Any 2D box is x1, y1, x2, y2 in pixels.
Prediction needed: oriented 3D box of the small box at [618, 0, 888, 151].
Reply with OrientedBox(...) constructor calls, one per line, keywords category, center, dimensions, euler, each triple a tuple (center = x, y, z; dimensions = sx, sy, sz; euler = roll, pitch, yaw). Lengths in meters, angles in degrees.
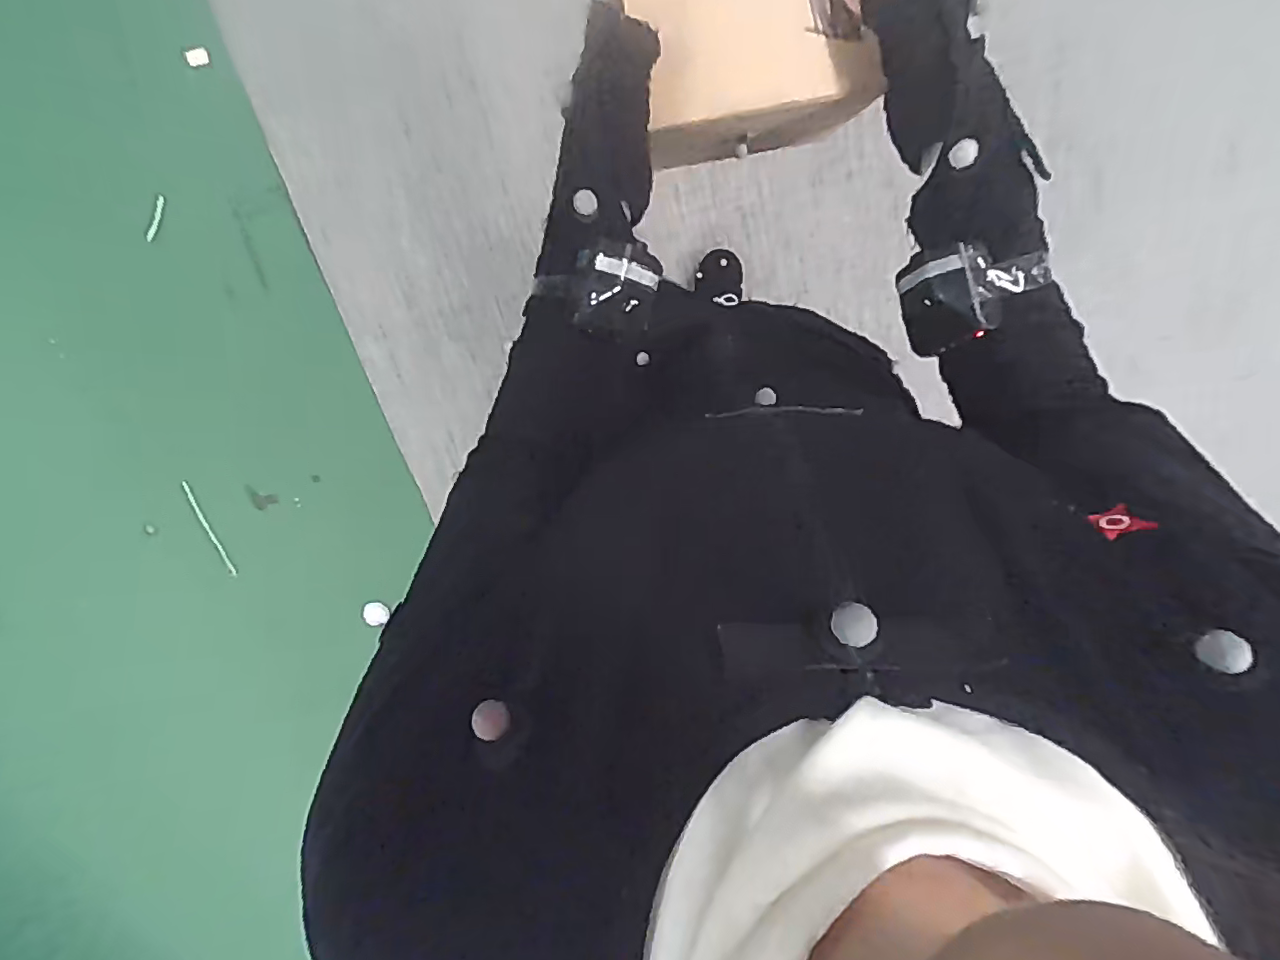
OrientedBox(category="small box", center=(0.072, -0.369, 0.413), dimensions=(0.179, 0.176, 0.168), euler=(-5, 110, 4))
